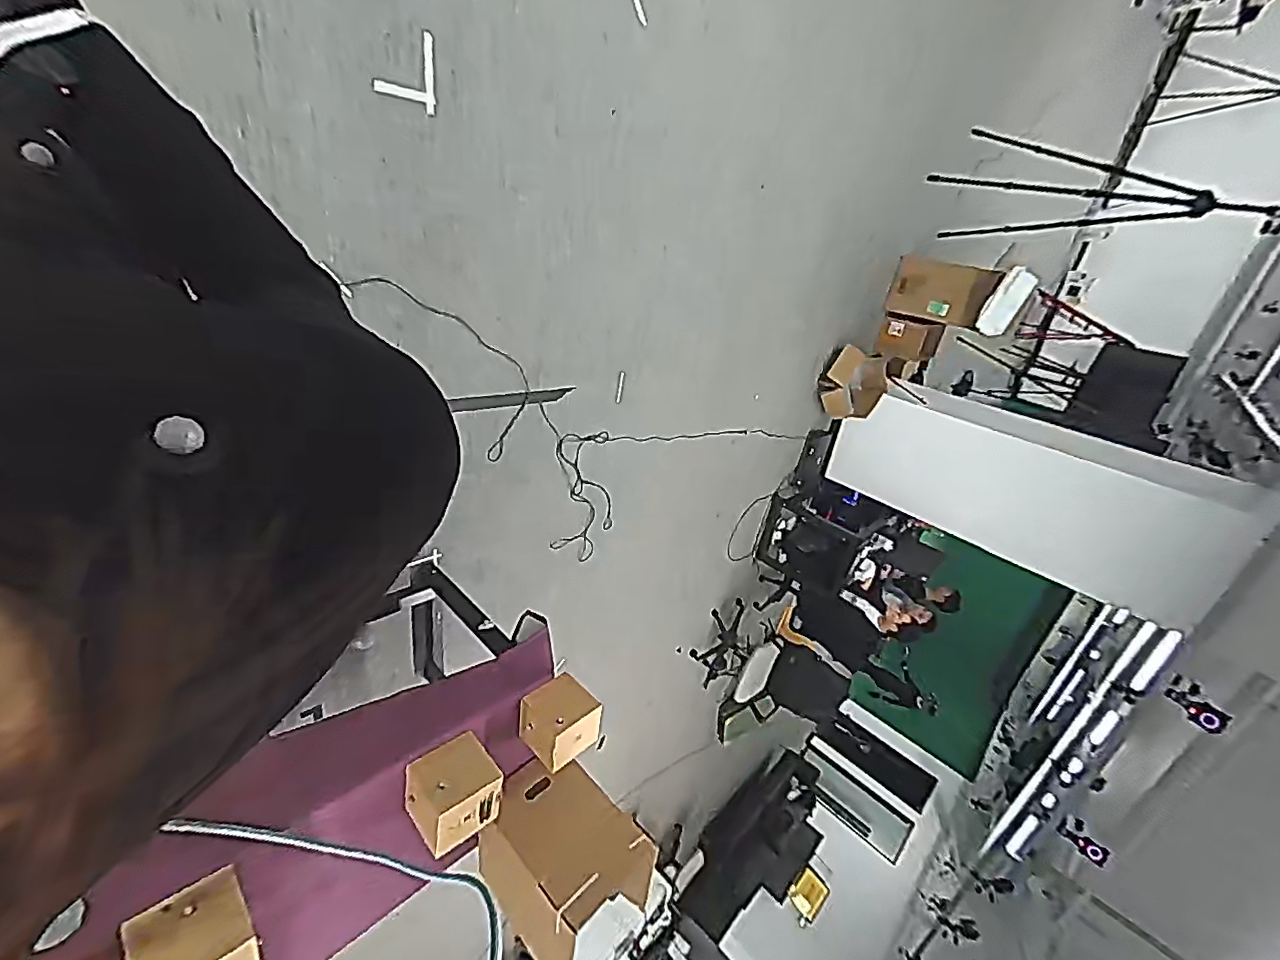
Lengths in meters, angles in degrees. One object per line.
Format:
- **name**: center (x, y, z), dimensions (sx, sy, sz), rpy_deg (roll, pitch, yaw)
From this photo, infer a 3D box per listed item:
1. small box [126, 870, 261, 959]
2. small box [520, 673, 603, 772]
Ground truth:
- **small box**: center (-0.827, 0.889, 1.009), dimensions (0.168, 0.176, 0.179), rpy_deg (-14, 124, -46)
- **small box**: center (-0.237, 0.715, 1.618), dimensions (0.179, 0.176, 0.168), rpy_deg (-20, 129, -41)
